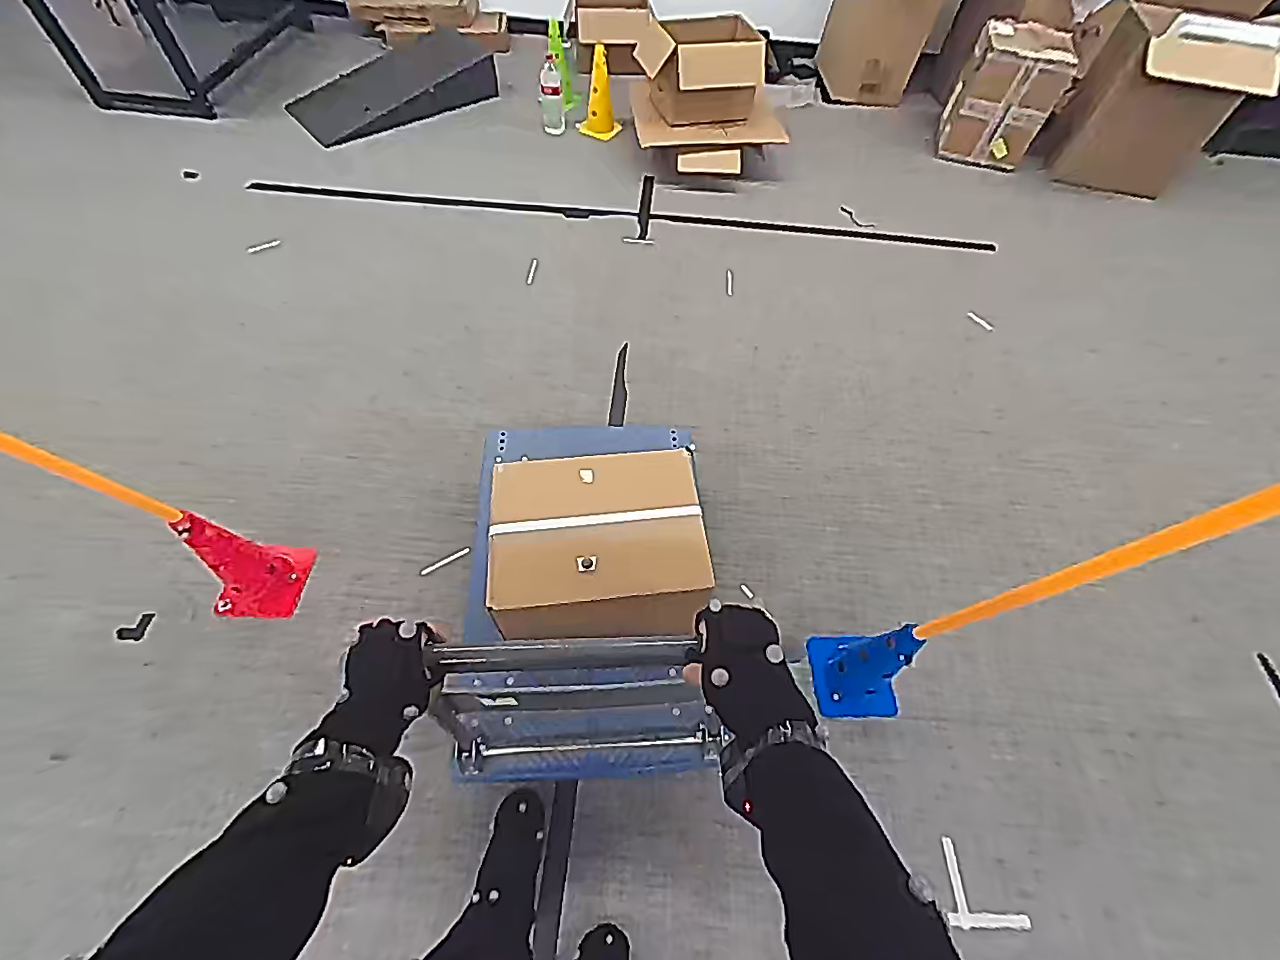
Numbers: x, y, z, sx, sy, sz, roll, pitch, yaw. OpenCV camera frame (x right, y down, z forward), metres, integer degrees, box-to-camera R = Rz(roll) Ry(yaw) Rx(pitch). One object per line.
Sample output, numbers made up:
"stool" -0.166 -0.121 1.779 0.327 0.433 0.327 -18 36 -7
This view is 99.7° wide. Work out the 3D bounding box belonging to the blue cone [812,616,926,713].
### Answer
"blue cone" 0.554 0.403 1.243 0.193 0.380 0.192 2 56 -3
